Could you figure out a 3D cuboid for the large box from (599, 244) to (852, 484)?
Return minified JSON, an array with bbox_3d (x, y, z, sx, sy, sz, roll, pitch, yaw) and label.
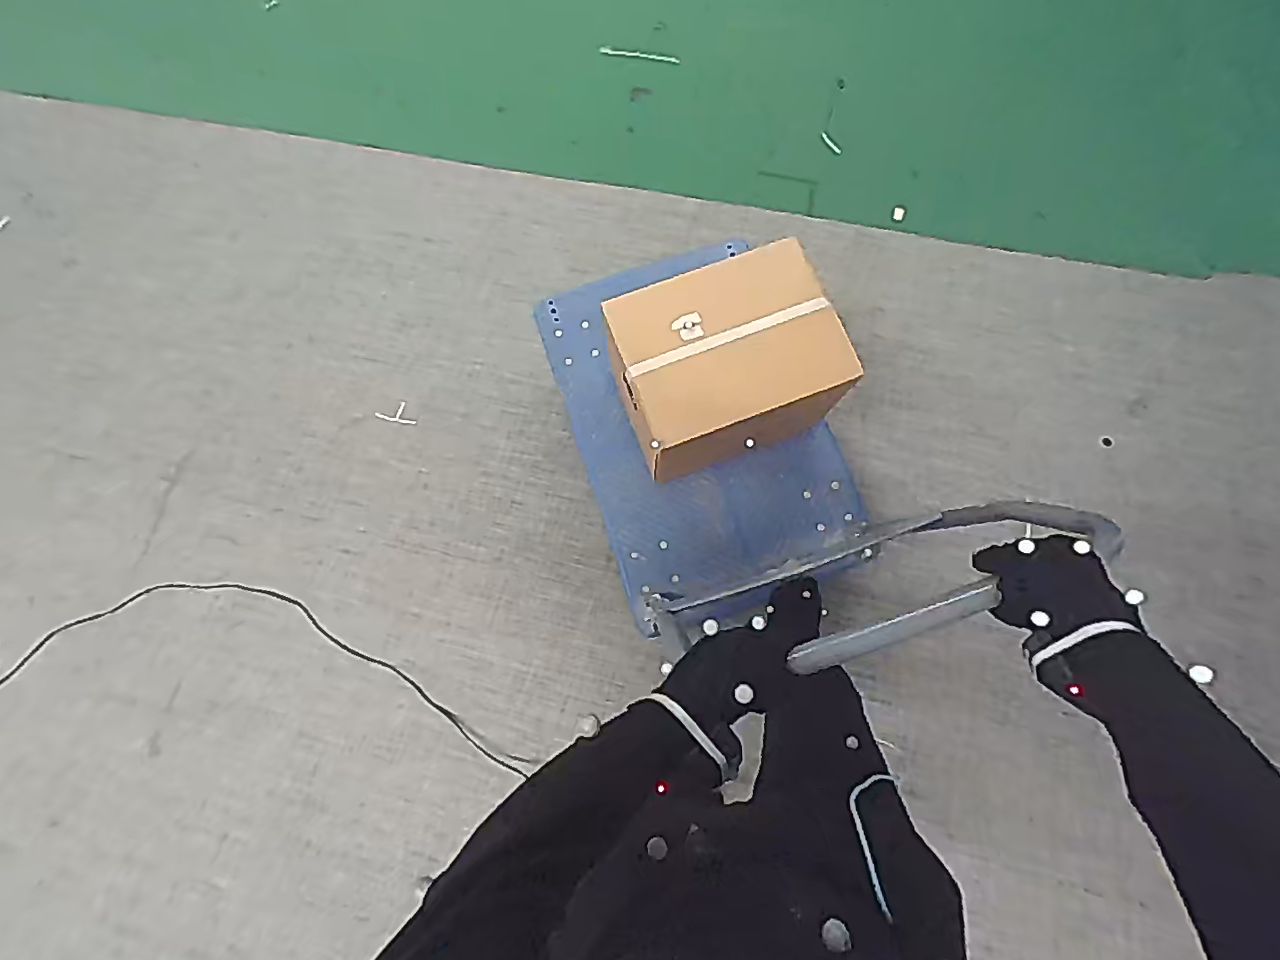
[{"bbox_3d":[0.164,-0.226,1.168,0.408,0.320,0.320,-22,78,-3],"label":"large box"}]
